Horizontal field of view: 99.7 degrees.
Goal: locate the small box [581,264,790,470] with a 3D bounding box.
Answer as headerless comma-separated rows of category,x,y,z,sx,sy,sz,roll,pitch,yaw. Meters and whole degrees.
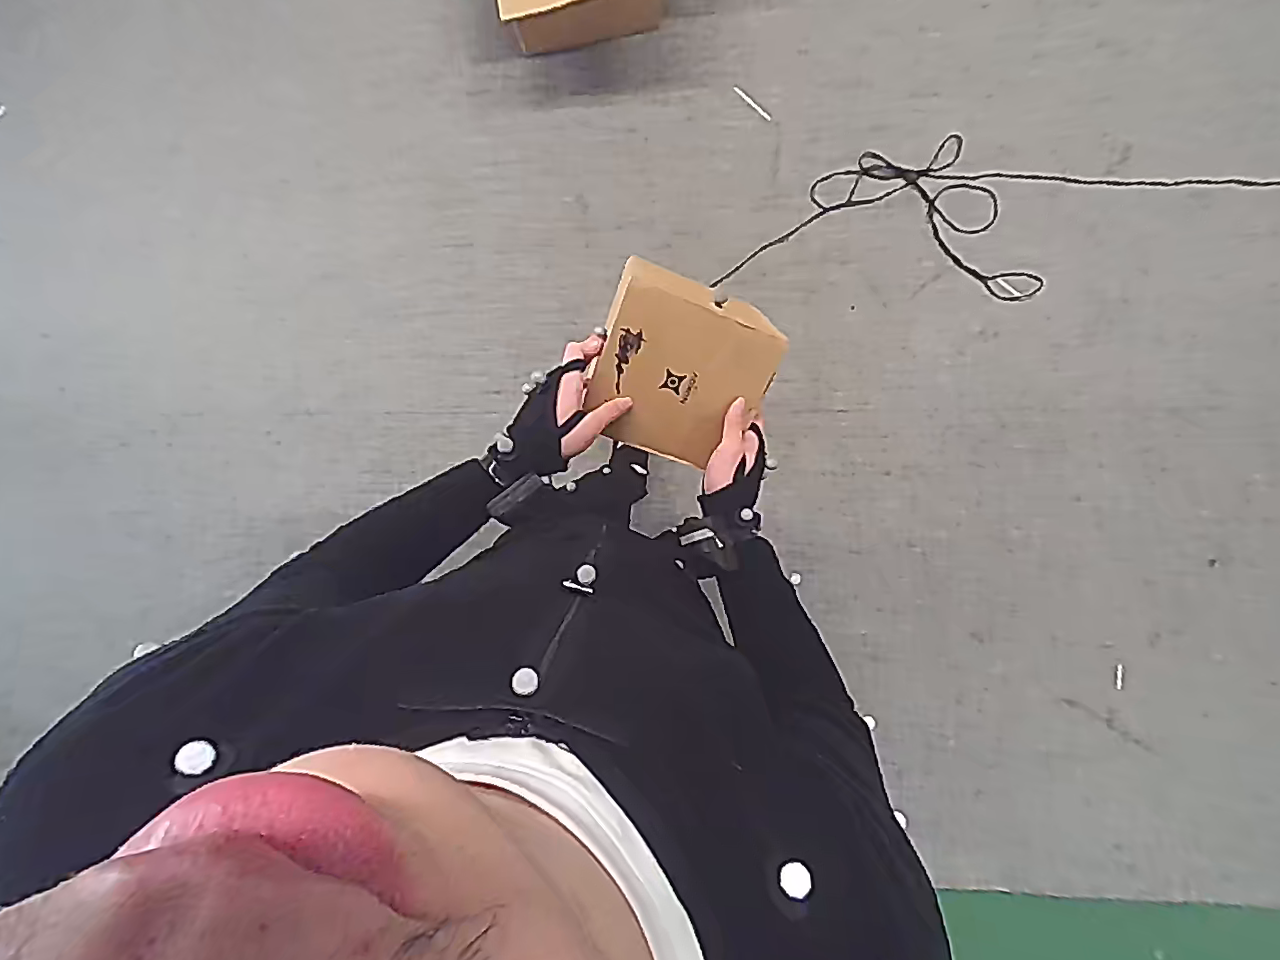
small box,0.043,-0.140,0.636,0.179,0.176,0.168,18,115,-11
